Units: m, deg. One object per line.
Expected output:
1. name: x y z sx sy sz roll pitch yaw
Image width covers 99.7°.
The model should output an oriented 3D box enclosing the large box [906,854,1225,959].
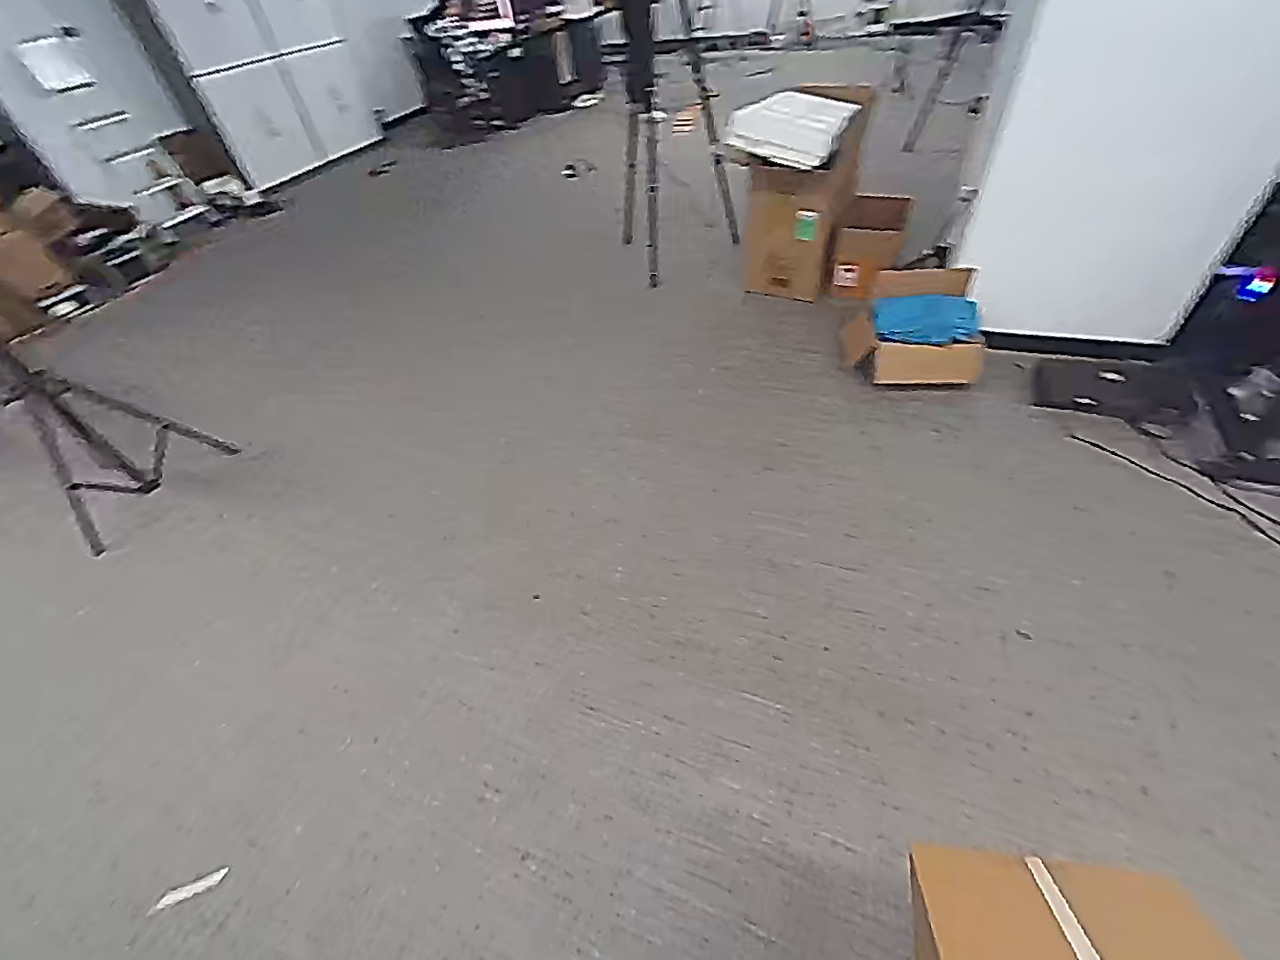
1. large box: 0.492 0.694 0.562 0.320 0.320 0.408 -4 1 16
